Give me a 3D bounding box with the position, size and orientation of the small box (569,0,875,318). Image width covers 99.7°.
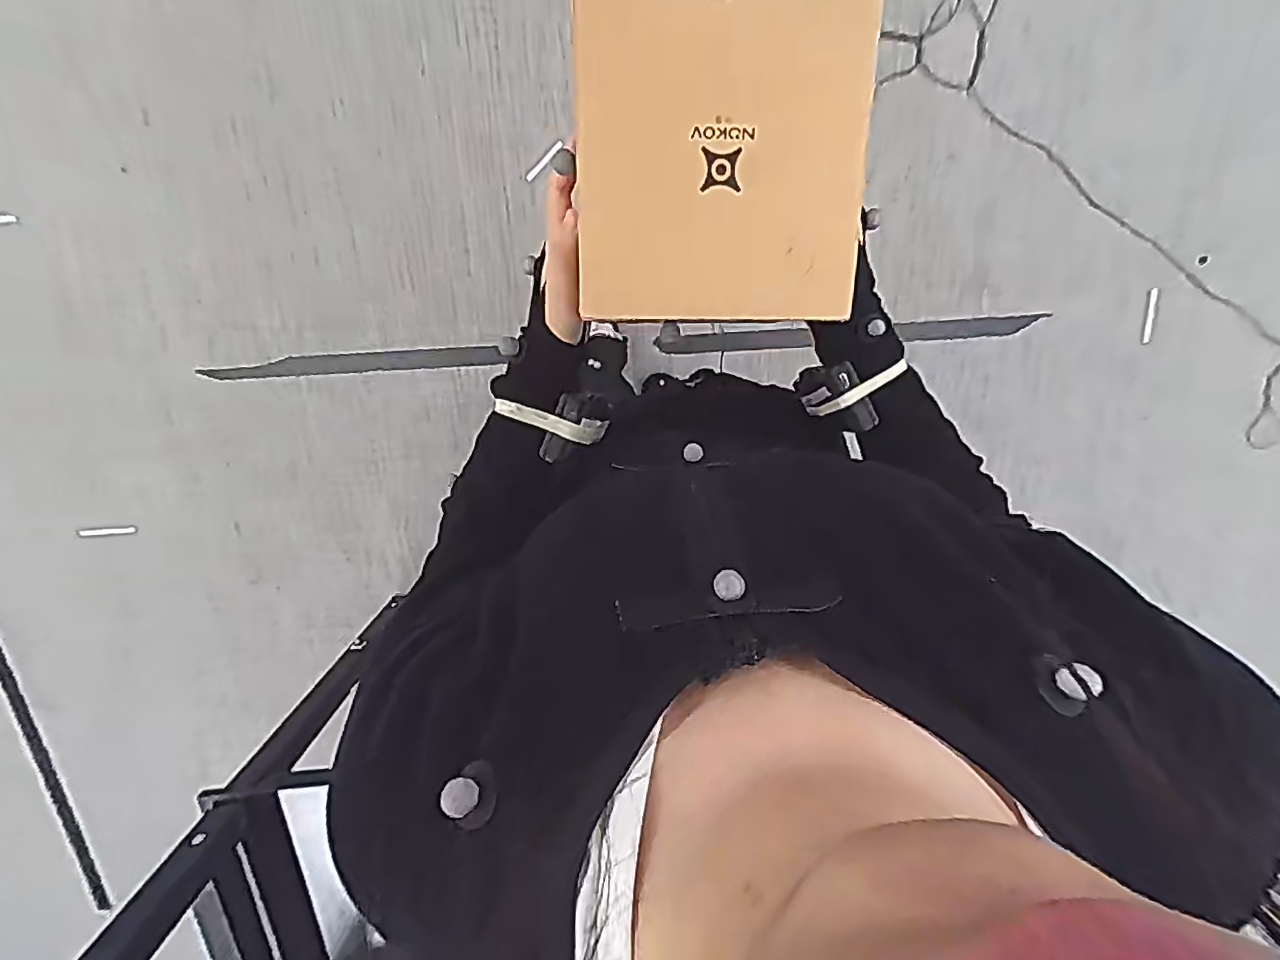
[{"bbox_3d":[0.043,-0.207,0.383,0.168,0.176,0.179,-1,105,-1],"label":"small box"}]
